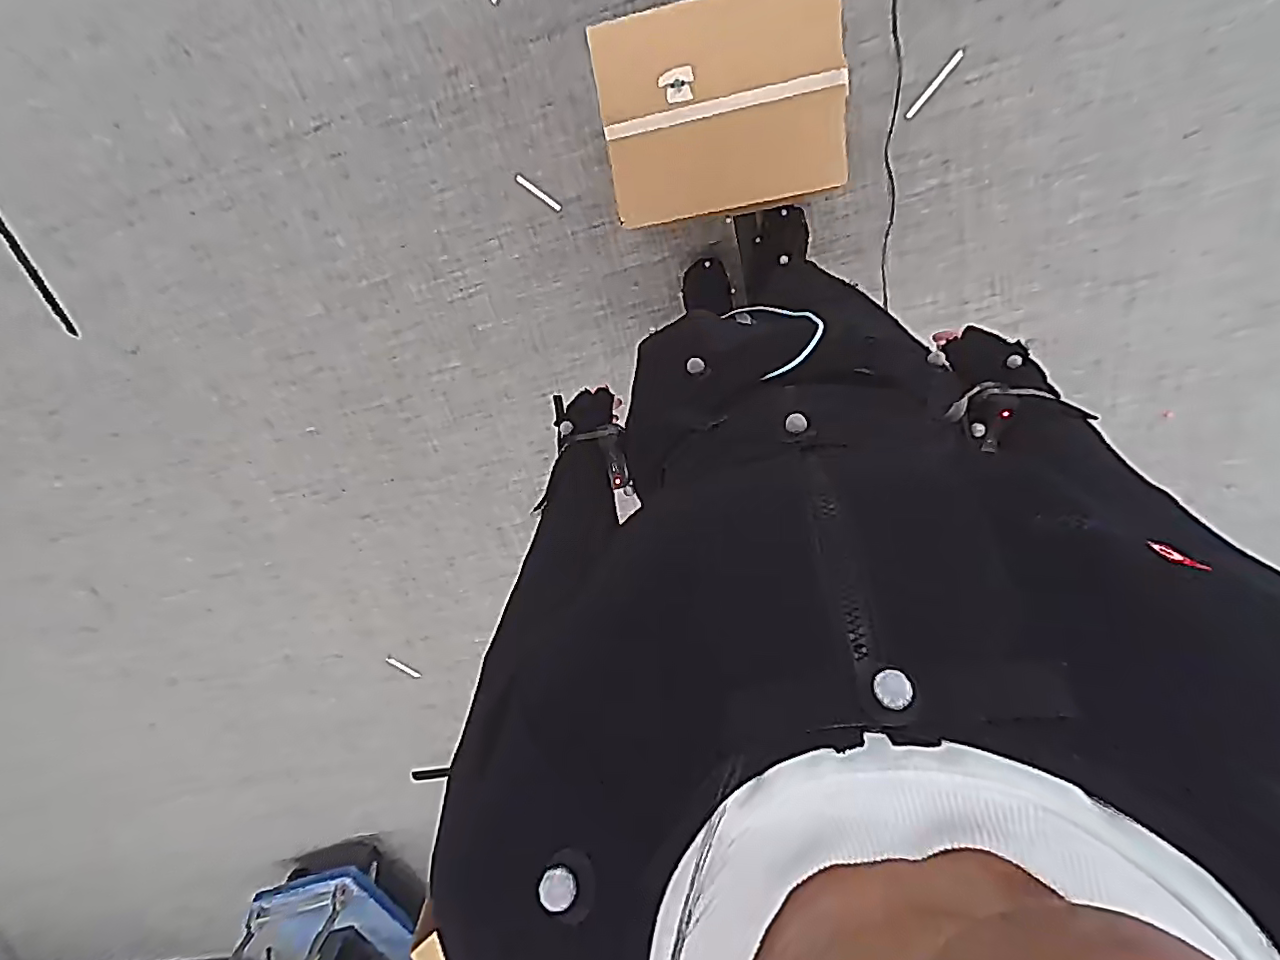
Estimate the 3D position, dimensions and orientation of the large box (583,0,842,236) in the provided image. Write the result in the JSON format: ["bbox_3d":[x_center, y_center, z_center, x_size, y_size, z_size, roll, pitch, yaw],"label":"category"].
[{"bbox_3d":[0.144,-0.681,1.049,0.408,0.320,0.320,-8,111,11],"label":"large box"}]
